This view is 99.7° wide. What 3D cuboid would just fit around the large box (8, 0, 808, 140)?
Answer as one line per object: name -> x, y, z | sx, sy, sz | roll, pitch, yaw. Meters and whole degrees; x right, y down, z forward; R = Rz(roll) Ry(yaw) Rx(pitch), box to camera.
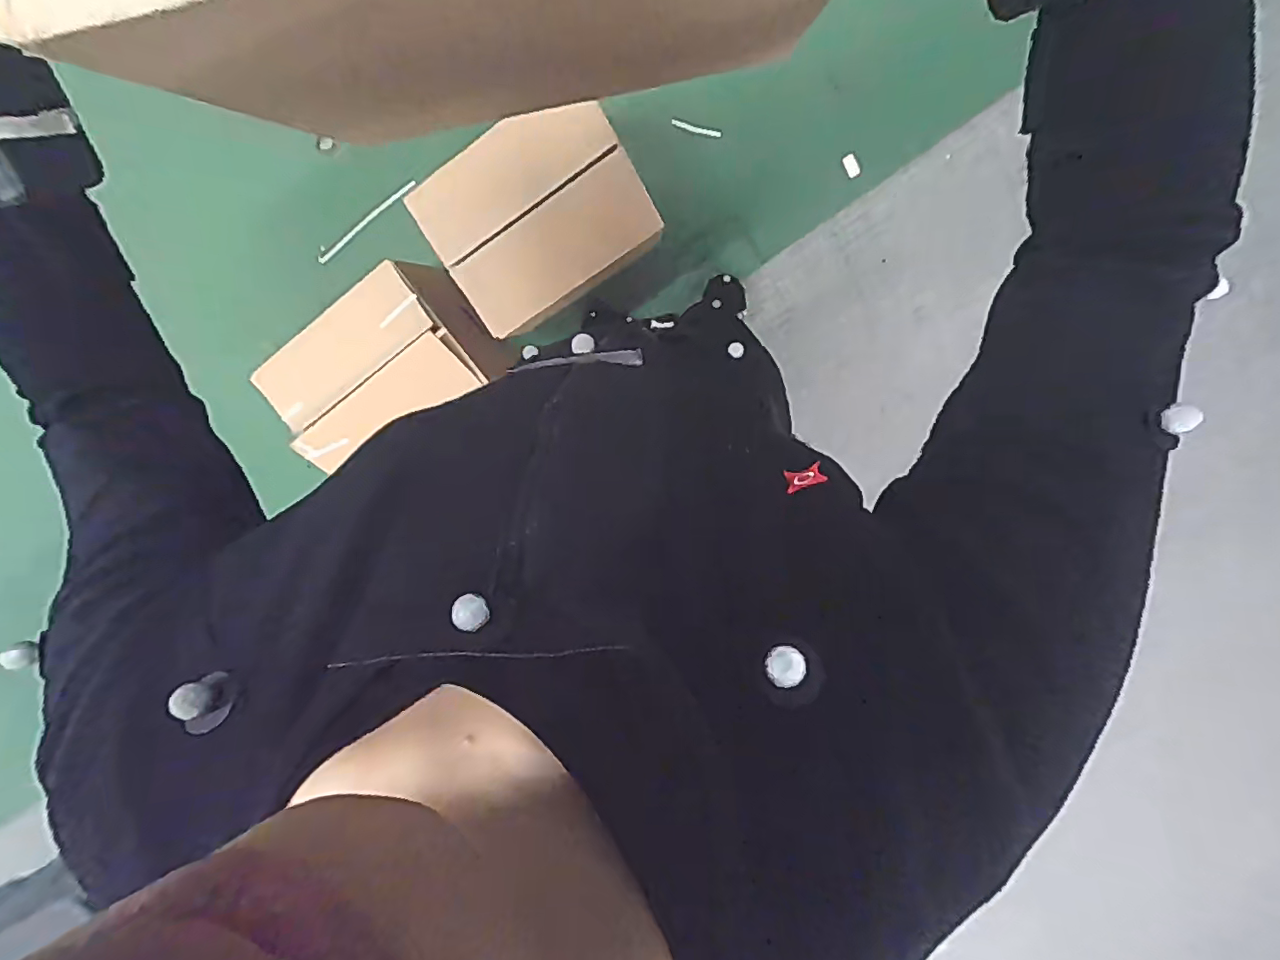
large box -> -0.097, -0.421, 0.289 | 0.408, 0.320, 0.320 | -9, 115, 4
